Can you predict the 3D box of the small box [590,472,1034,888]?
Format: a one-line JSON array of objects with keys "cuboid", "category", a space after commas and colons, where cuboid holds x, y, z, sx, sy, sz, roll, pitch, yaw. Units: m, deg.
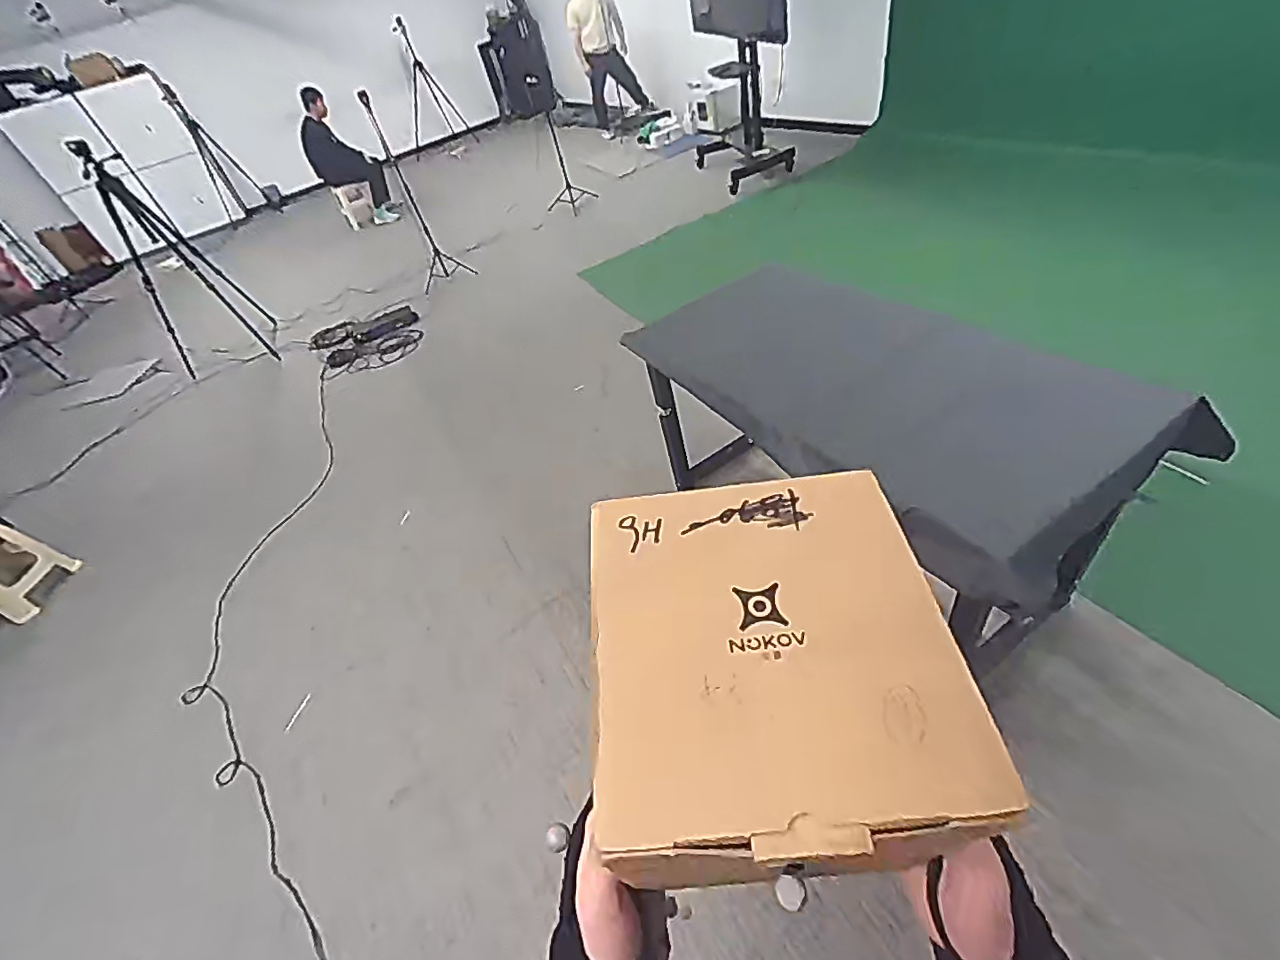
[{"cuboid": [0.065, 0.121, 0.311, 0.168, 0.176, 0.179, -6, 50, 1], "category": "small box"}]
